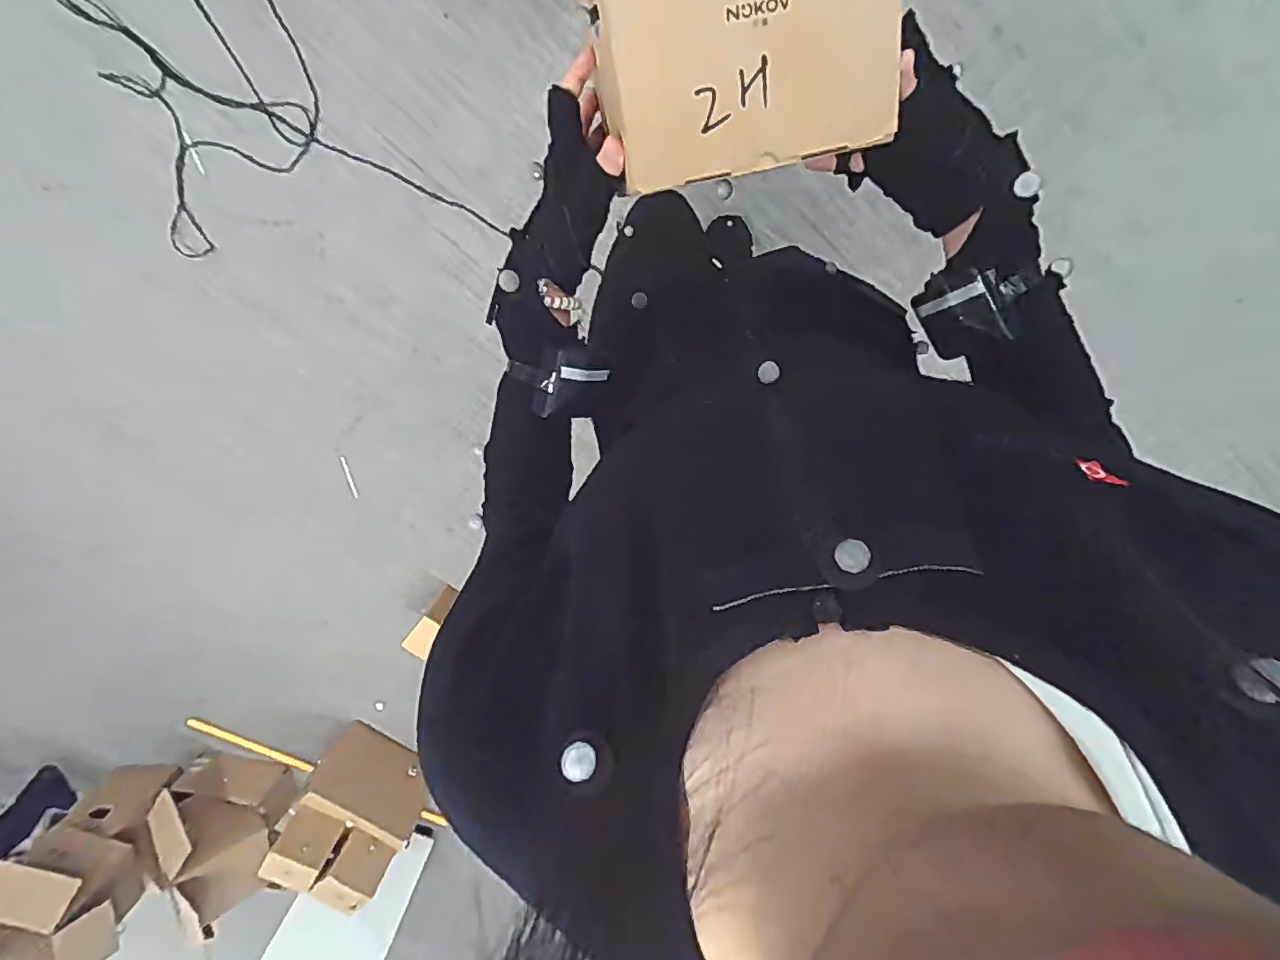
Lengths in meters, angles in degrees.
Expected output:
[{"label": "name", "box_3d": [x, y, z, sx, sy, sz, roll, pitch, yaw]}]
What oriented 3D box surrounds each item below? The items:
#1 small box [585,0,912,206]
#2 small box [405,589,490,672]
[{"label": "small box", "box_3d": [0.056, -0.291, 0.358, 0.168, 0.176, 0.179, -12, 118, 0]}, {"label": "small box", "box_3d": [-0.630, 0.487, 1.784, 0.179, 0.176, 0.168, 37, 113, -13]}]
